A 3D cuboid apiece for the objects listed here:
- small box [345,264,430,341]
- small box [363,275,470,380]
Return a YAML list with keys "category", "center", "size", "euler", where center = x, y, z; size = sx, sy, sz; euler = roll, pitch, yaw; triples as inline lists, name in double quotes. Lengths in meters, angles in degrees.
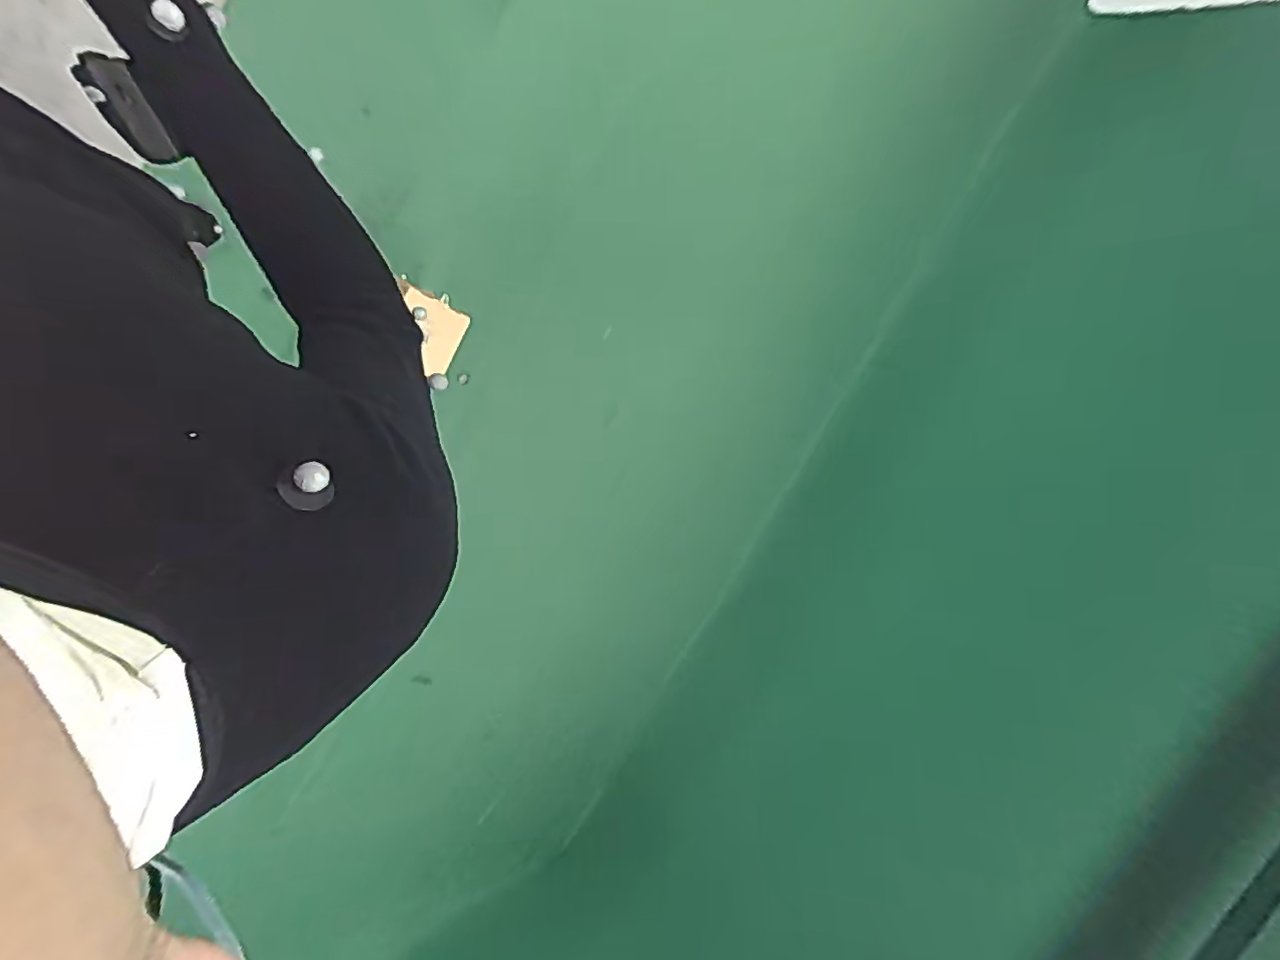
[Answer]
- category: "small box"
  center: [-0.660, -0.448, 1.441]
  size: [0.168, 0.176, 0.179]
  euler: [18, 102, -49]
- category: "small box"
  center: [-0.558, -0.378, 1.335]
  size: [0.168, 0.176, 0.179]
  euler: [21, 100, -48]
